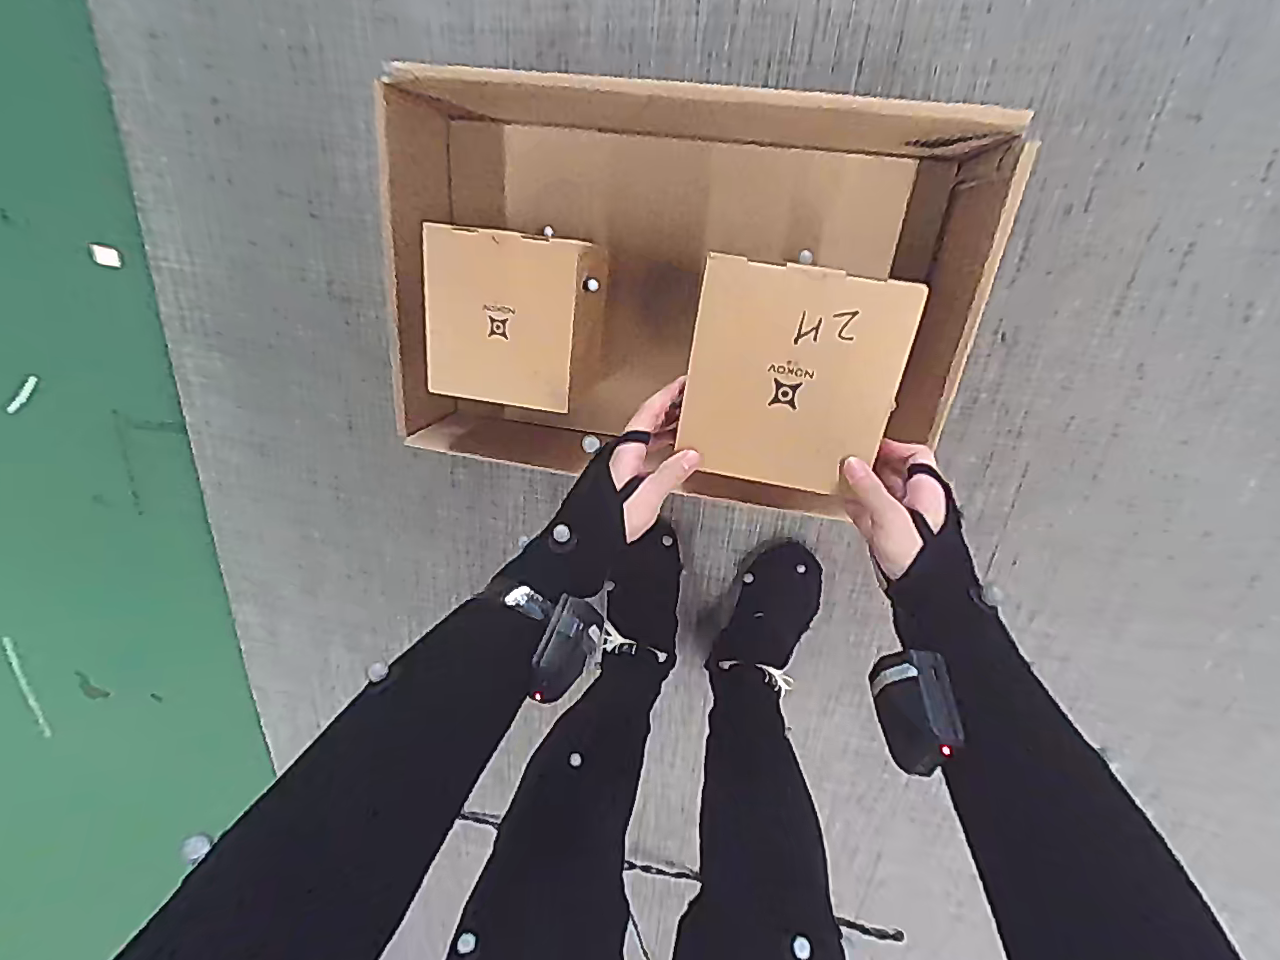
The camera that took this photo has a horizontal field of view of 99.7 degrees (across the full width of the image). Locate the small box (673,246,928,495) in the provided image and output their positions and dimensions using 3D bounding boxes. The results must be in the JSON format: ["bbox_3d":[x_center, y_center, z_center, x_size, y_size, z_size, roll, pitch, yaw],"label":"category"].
[{"bbox_3d":[0.134,-0.109,0.508,0.168,0.176,0.179,12,111,6],"label":"small box"}]

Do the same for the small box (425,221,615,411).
[{"bbox_3d":[-0.131,-0.196,0.637,0.168,0.176,0.179,9,112,7],"label":"small box"}]
